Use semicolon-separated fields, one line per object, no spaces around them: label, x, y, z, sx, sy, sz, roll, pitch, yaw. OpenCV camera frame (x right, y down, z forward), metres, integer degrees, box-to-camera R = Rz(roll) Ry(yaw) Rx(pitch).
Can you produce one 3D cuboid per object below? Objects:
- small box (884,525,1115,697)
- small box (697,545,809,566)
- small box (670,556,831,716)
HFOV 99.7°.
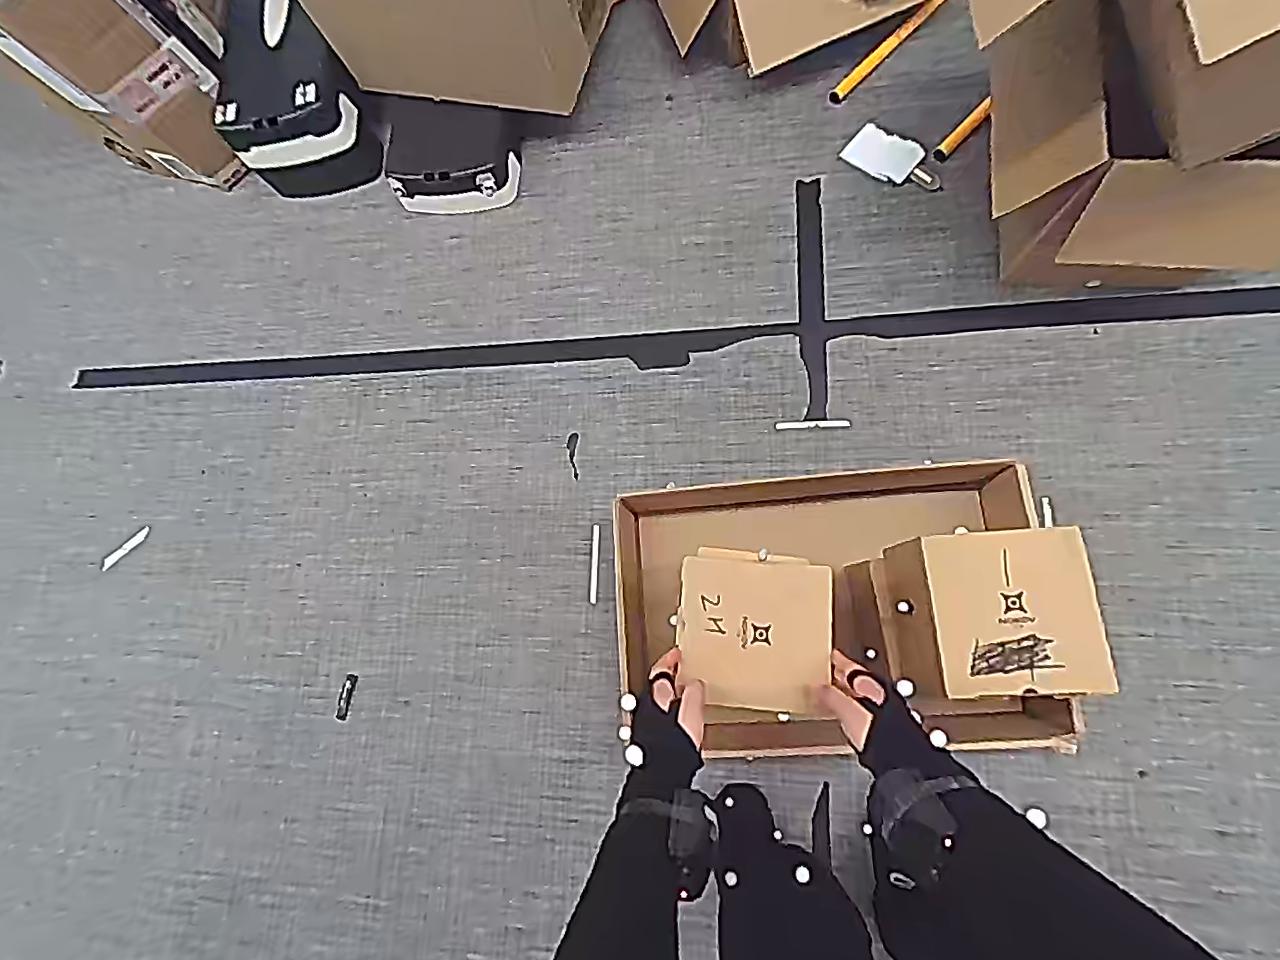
small box;0.410;0.155;0.653;0.168;0.176;0.179;-5;76;9
small box;0.164;0.206;0.856;0.168;0.176;0.179;5;79;9
small box;0.137;0.189;0.693;0.179;0.176;0.168;3;78;9
